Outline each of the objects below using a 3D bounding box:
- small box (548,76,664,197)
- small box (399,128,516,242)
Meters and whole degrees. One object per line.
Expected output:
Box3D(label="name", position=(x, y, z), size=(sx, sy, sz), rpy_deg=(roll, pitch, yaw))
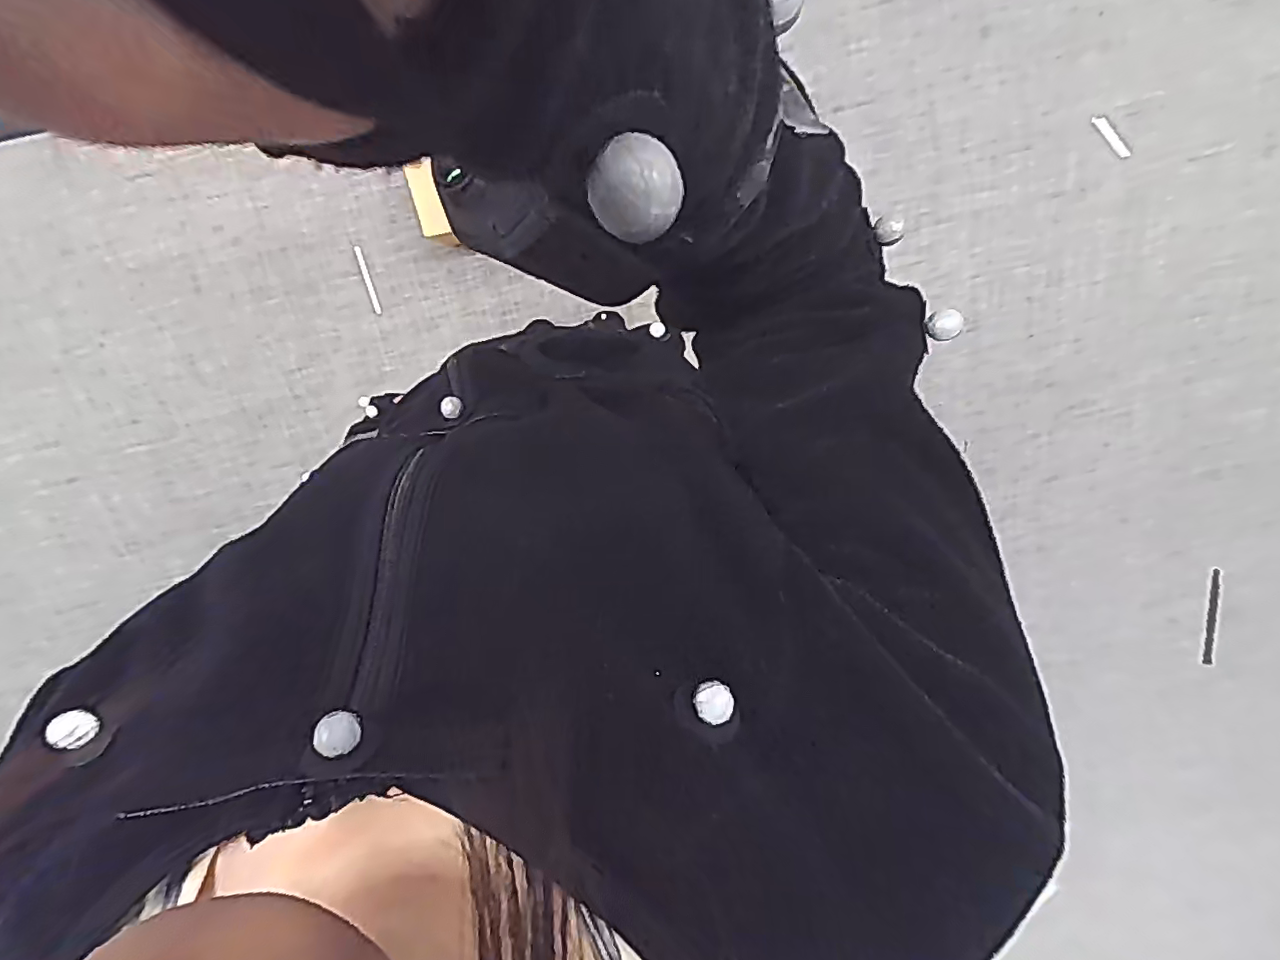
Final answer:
Box3D(label="small box", position=(-0.062, -0.637, 0.996), size=(0.179, 0.176, 0.168), rpy_deg=(-11, 109, -3))
Box3D(label="small box", position=(-0.377, -0.615, 1.148), size=(0.179, 0.176, 0.168), rpy_deg=(-12, 108, -2))
